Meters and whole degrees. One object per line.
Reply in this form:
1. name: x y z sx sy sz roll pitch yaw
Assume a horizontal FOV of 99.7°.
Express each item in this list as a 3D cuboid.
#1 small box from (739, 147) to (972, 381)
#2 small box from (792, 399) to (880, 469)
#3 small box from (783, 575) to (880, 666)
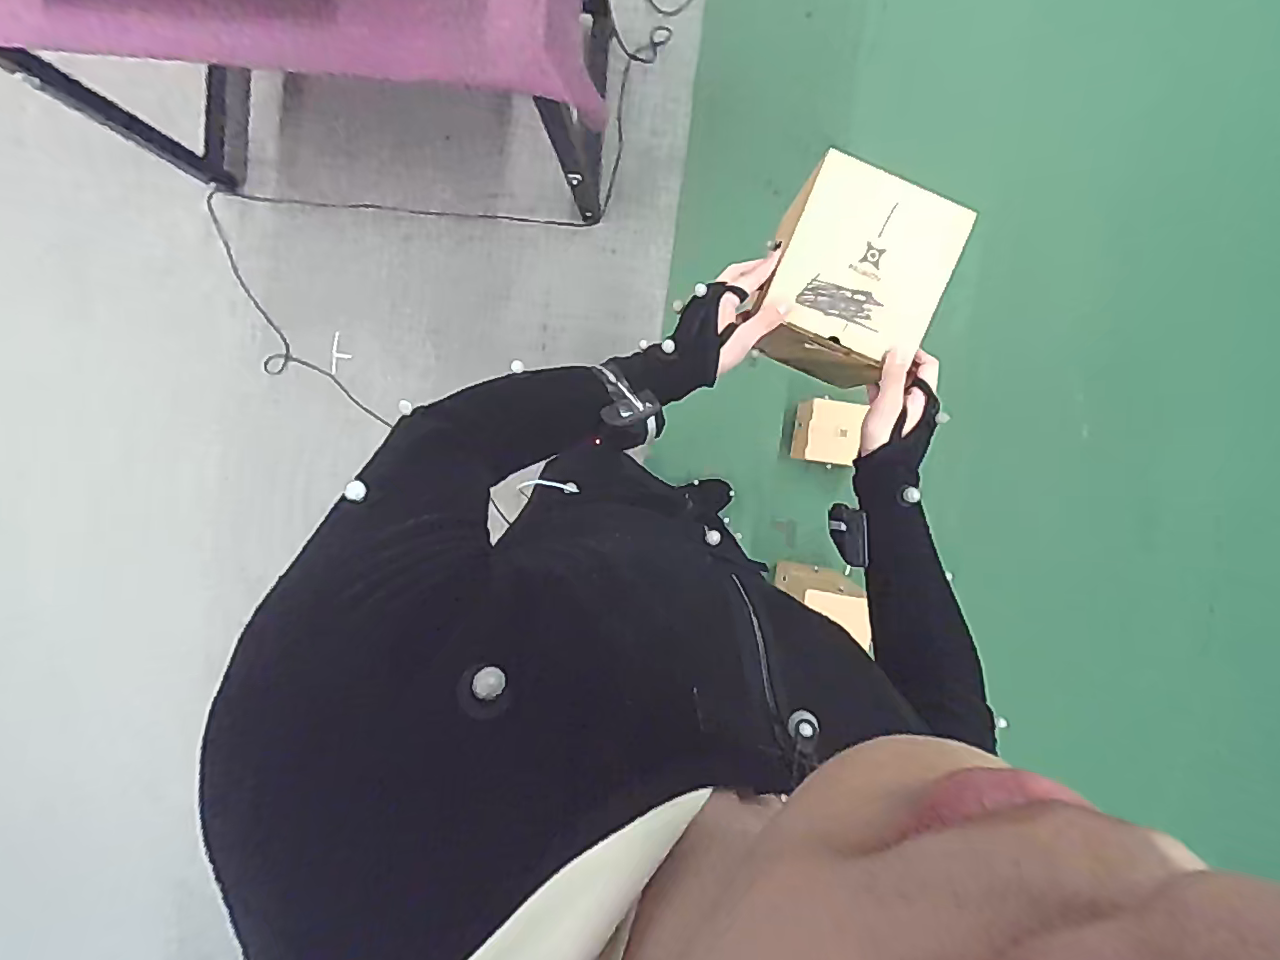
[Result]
1. small box: 0.225 -0.225 0.619 0.168 0.176 0.179 22 94 -2
2. small box: 0.543 -0.128 1.514 0.179 0.176 0.168 8 93 3
3. small box: 0.480 0.351 1.377 0.179 0.176 0.168 10 94 3
